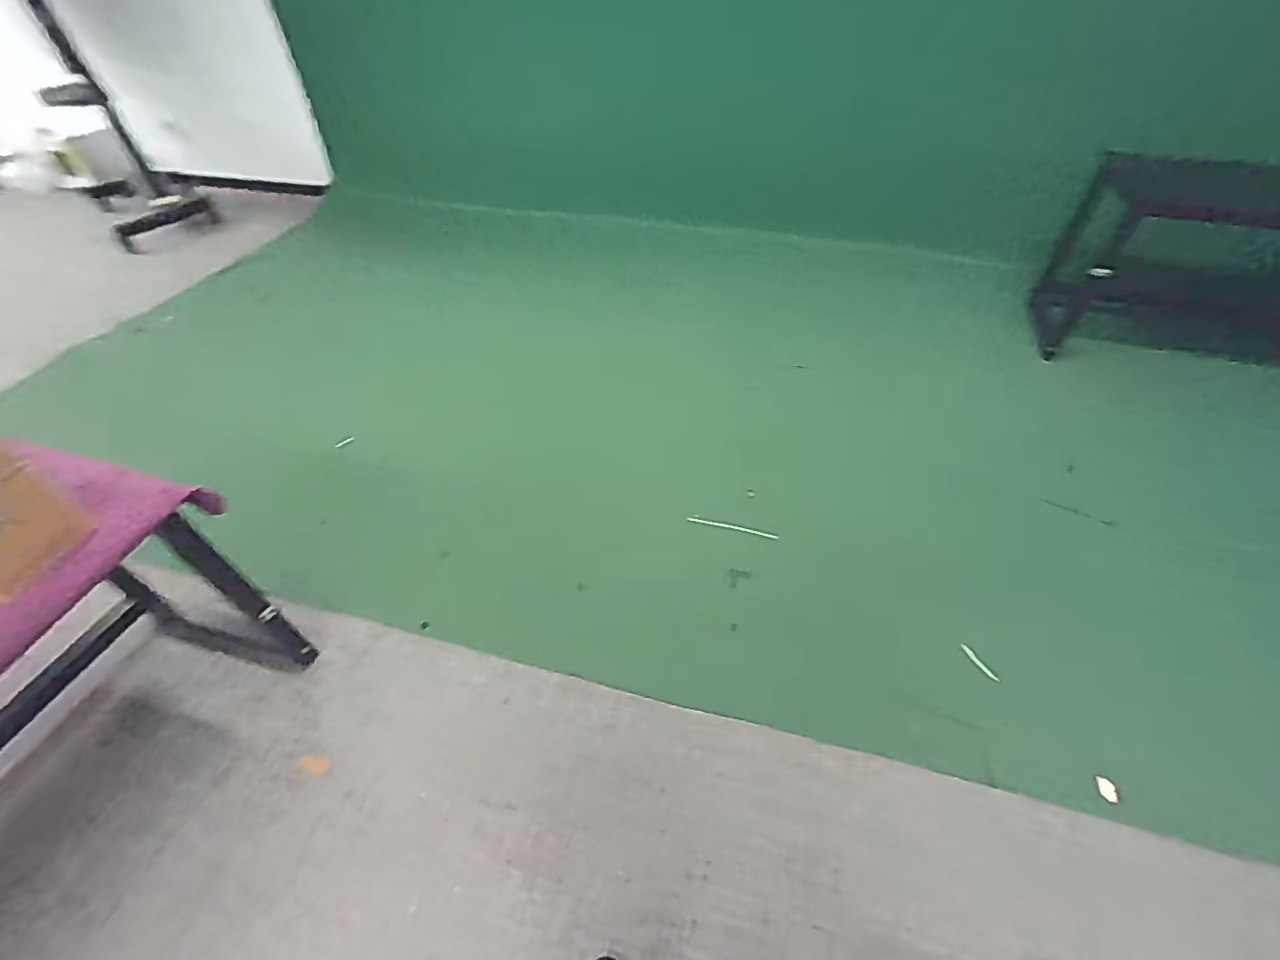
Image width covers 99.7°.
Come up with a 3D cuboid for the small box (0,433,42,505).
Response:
[{"bbox_3d":[-1.098,-0.027,0.810,0.179,0.176,0.168,10,50,12],"label":"small box"}]
